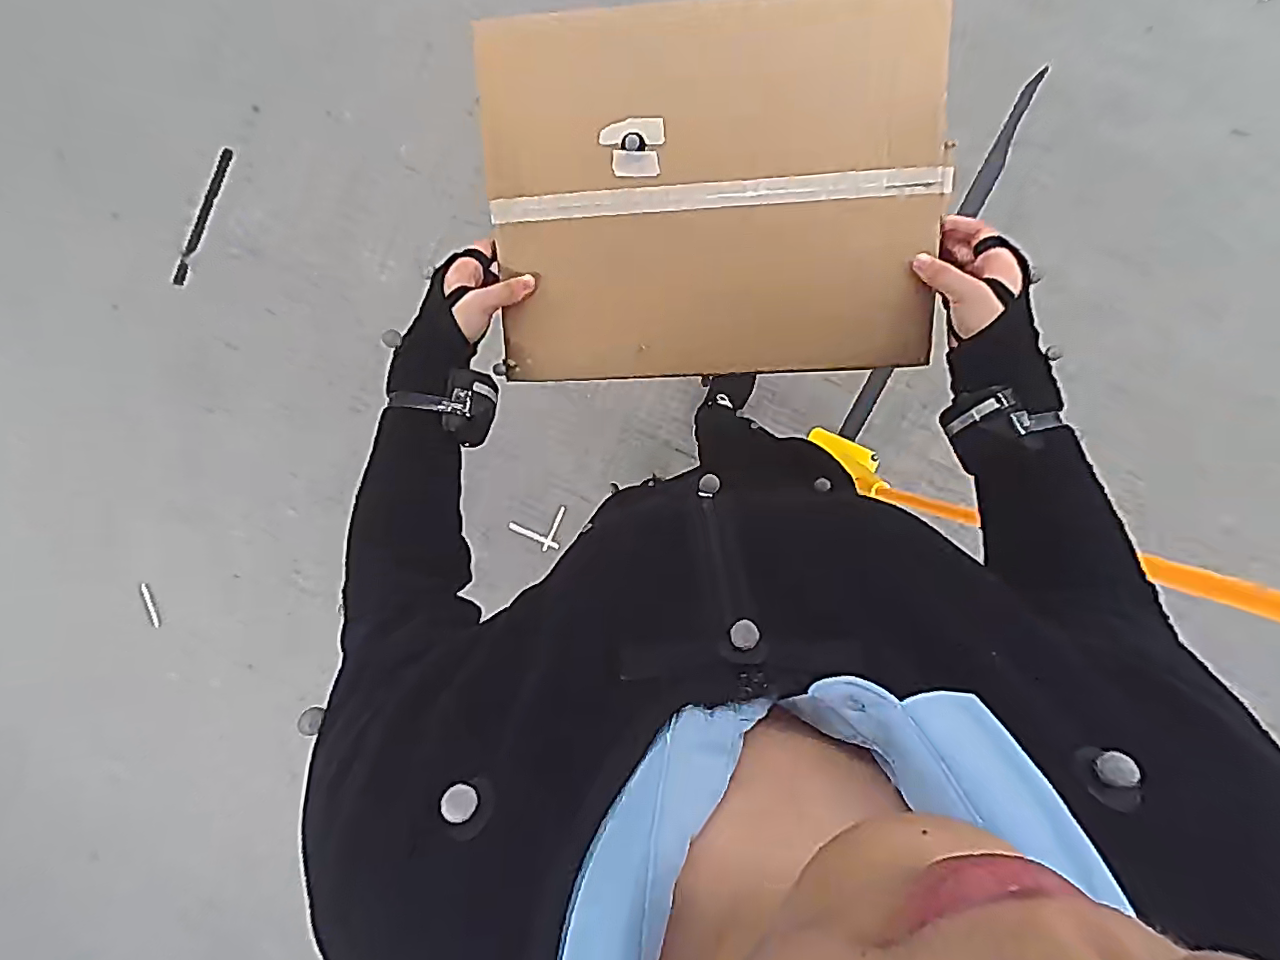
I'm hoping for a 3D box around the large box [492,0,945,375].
[{"bbox_3d":[0.084,-0.293,0.645,0.408,0.320,0.320,-1,100,6],"label":"large box"}]
